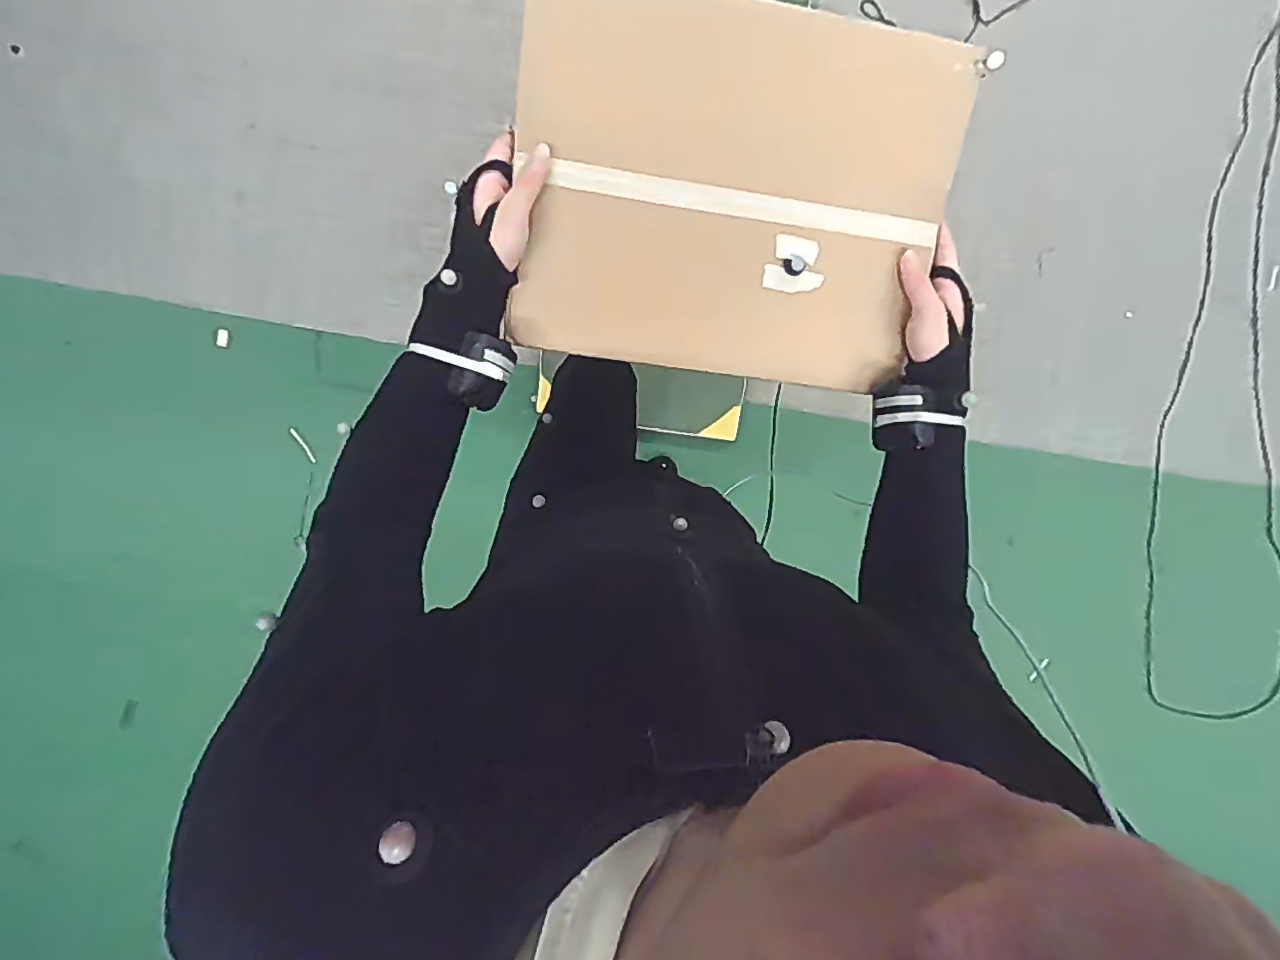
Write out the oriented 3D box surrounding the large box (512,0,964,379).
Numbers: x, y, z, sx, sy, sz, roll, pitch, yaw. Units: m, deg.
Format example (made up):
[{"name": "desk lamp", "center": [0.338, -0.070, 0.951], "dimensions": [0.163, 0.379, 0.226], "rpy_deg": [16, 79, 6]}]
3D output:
[{"name": "large box", "center": [0.071, -0.314, 0.656], "dimensions": [0.408, 0.320, 0.320], "rpy_deg": [6, 108, -7]}]
